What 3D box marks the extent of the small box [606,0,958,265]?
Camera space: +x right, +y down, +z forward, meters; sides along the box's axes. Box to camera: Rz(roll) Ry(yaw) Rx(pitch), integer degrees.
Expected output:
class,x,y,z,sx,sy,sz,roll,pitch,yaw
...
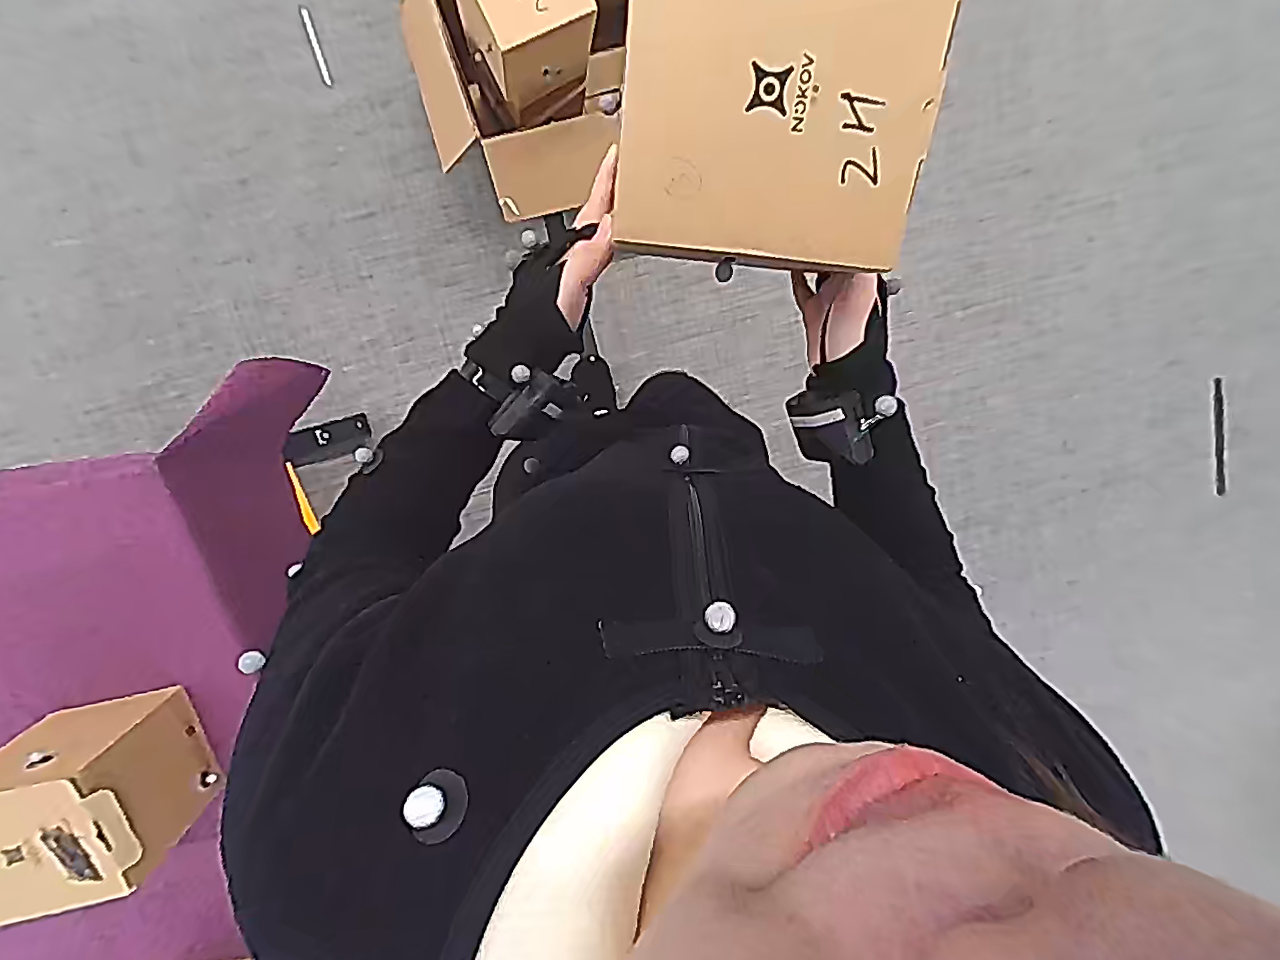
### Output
class,x,y,z,sx,sy,sz,roll,pitch,yaw
small box,0.072,-0.243,0.366,0.179,0.176,0.168,5,111,-5

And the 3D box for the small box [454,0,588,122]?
class,x,y,z,sx,sy,sz,roll,pitch,yaw
small box,-0.217,-0.826,1.020,0.179,0.176,0.168,-37,106,-2

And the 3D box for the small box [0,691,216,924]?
class,x,y,z,sx,sy,sz,roll,pitch,yaw
small box,-0.677,0.390,0.671,0.179,0.176,0.168,-12,104,-3
